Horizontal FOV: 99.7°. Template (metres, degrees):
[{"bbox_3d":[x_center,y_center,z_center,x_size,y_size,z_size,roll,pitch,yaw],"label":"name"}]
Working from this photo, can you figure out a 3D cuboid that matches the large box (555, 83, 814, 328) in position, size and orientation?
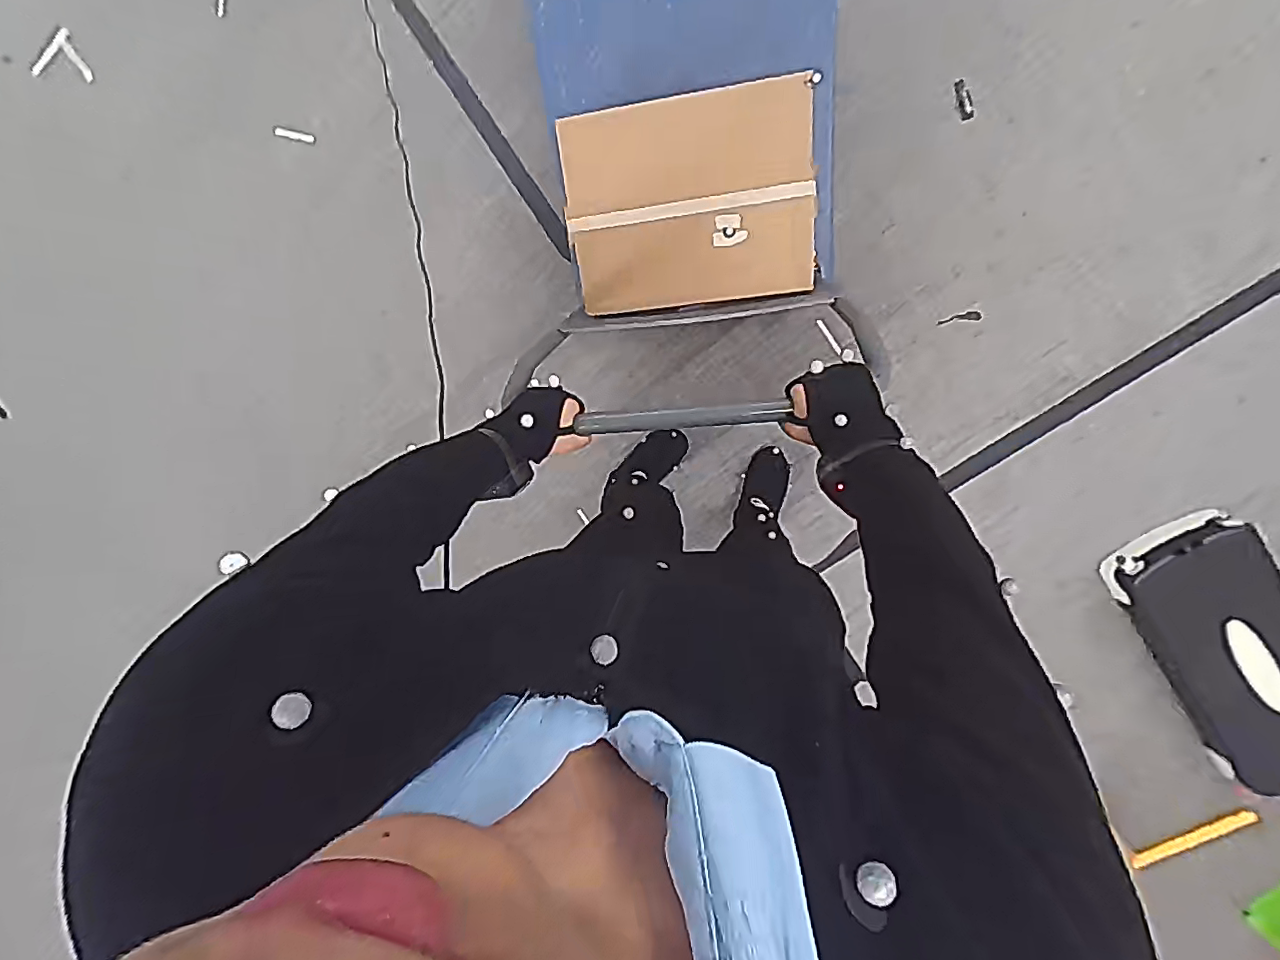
[{"bbox_3d":[0.095,-0.490,1.026,0.408,0.320,0.320,-4,114,10],"label":"large box"}]
